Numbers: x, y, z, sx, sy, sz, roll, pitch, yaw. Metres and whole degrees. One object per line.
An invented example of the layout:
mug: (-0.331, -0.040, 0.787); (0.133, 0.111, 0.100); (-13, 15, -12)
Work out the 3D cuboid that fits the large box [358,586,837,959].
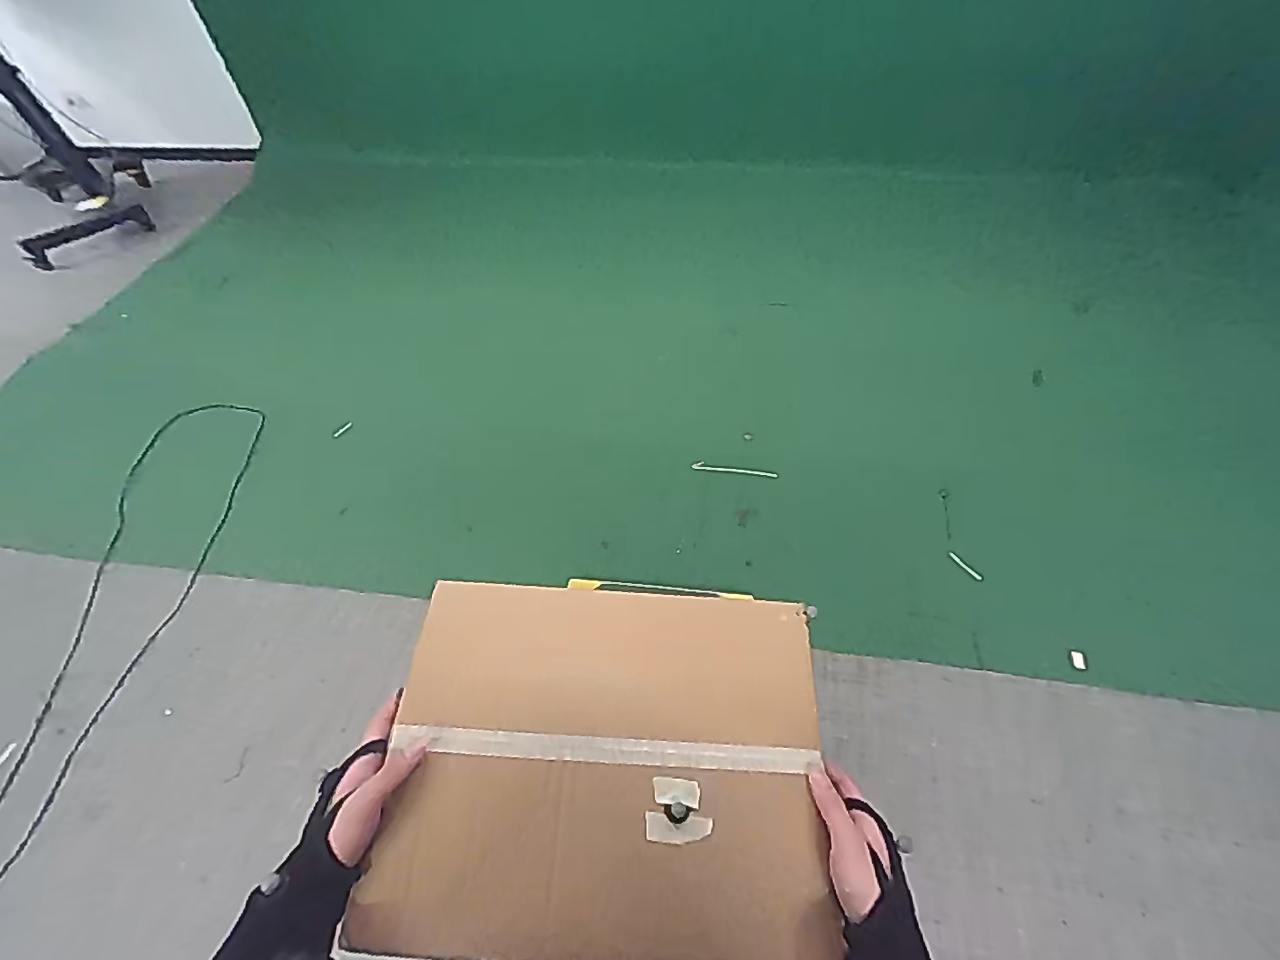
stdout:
large box: (-0.034, 0.339, 0.646); (0.408, 0.320, 0.320); (4, 57, 0)
